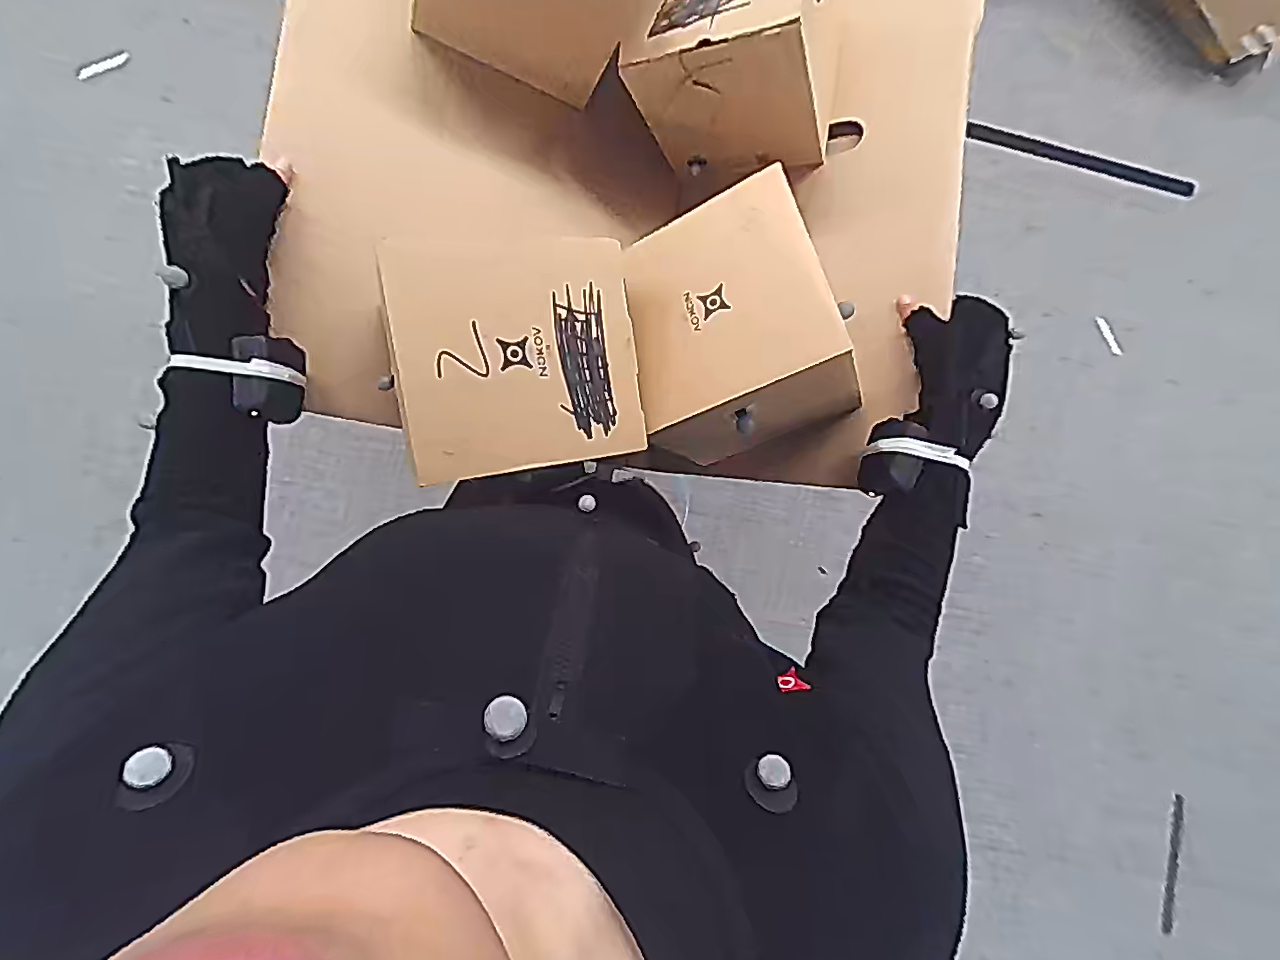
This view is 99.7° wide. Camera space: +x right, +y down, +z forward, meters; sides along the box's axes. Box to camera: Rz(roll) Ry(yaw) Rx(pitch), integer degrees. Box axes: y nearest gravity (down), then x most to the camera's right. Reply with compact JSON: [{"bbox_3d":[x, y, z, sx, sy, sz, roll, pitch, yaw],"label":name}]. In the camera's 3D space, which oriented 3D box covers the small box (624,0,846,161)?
[{"bbox_3d":[0.105,-0.448,0.536,0.168,0.176,0.179,8,85,25],"label":"small box"}]
